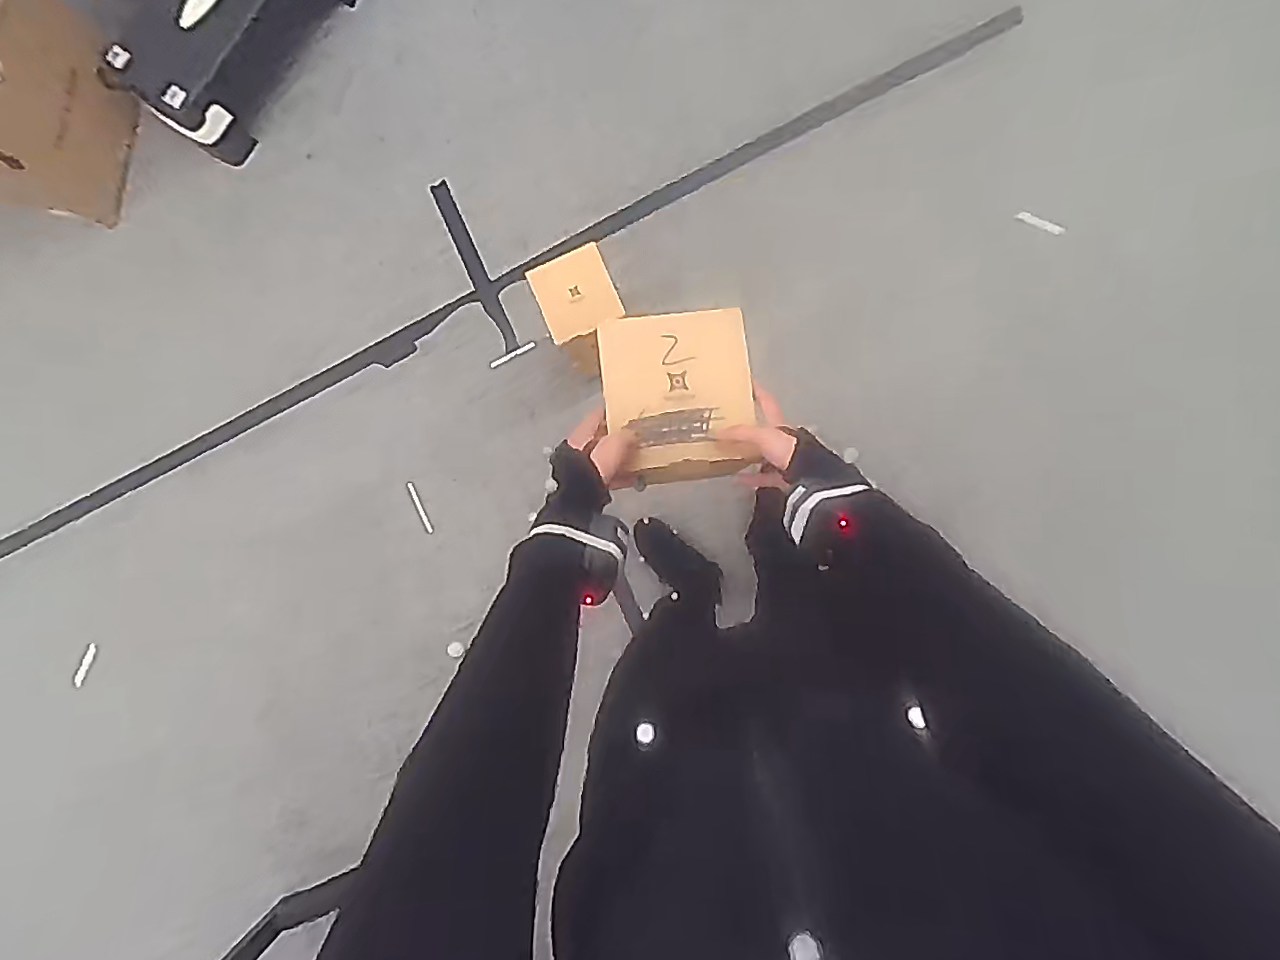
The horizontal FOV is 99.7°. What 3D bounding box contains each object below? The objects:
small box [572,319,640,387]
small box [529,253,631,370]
[{"bbox_3d":[-0.110,-0.361,1.396,0.179,0.176,0.168,-28,86,3],"label":"small box"},{"bbox_3d":[-0.129,-0.375,1.235,0.168,0.176,0.179,-24,88,3],"label":"small box"}]
